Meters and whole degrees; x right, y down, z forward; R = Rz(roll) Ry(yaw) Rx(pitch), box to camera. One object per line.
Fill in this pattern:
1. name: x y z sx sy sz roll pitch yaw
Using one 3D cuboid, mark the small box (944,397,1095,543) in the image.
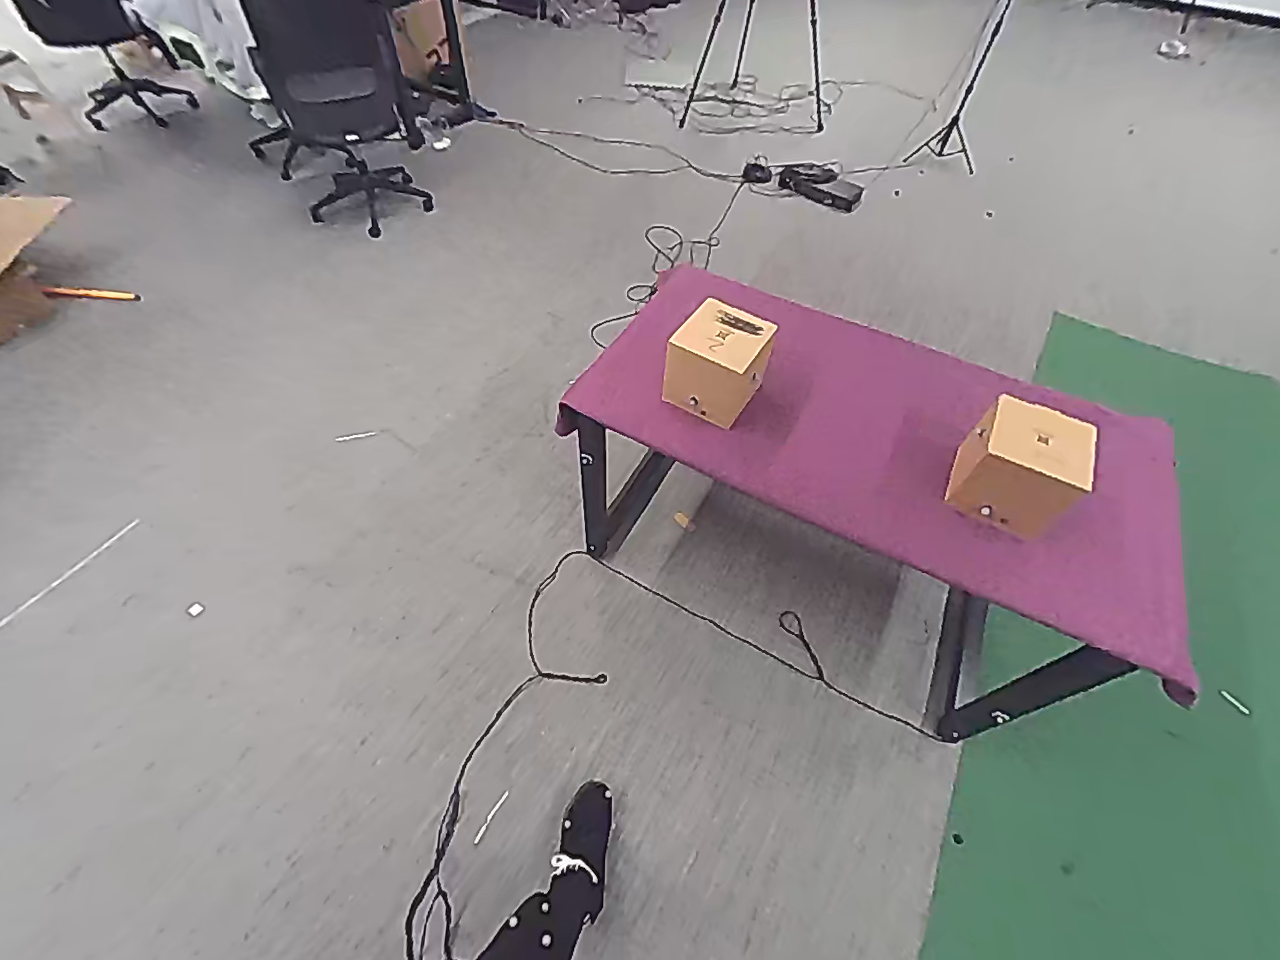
1. small box: 0.702 -0.017 1.013 0.168 0.176 0.179 26 56 17
